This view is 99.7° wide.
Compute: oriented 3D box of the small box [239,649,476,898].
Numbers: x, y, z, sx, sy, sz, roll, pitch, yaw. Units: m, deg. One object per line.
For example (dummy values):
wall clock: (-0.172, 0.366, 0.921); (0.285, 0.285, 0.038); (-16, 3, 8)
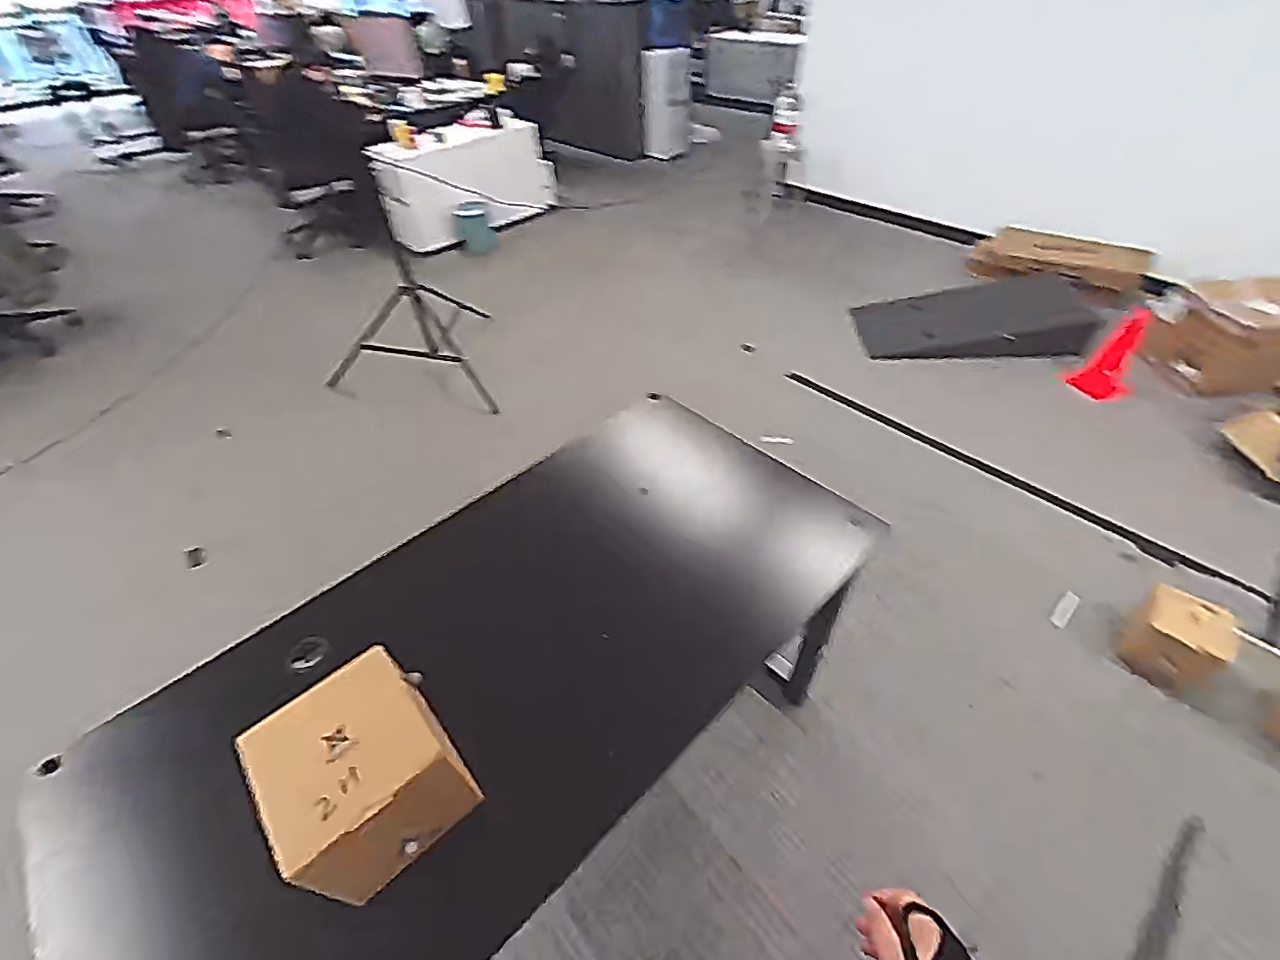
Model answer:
small box: (-0.322, 0.346, 0.639); (0.168, 0.176, 0.179); (-34, 53, -26)

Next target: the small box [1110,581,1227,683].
small box: (1.438, 0.419, 1.480); (0.168, 0.176, 0.179); (30, 55, 29)
